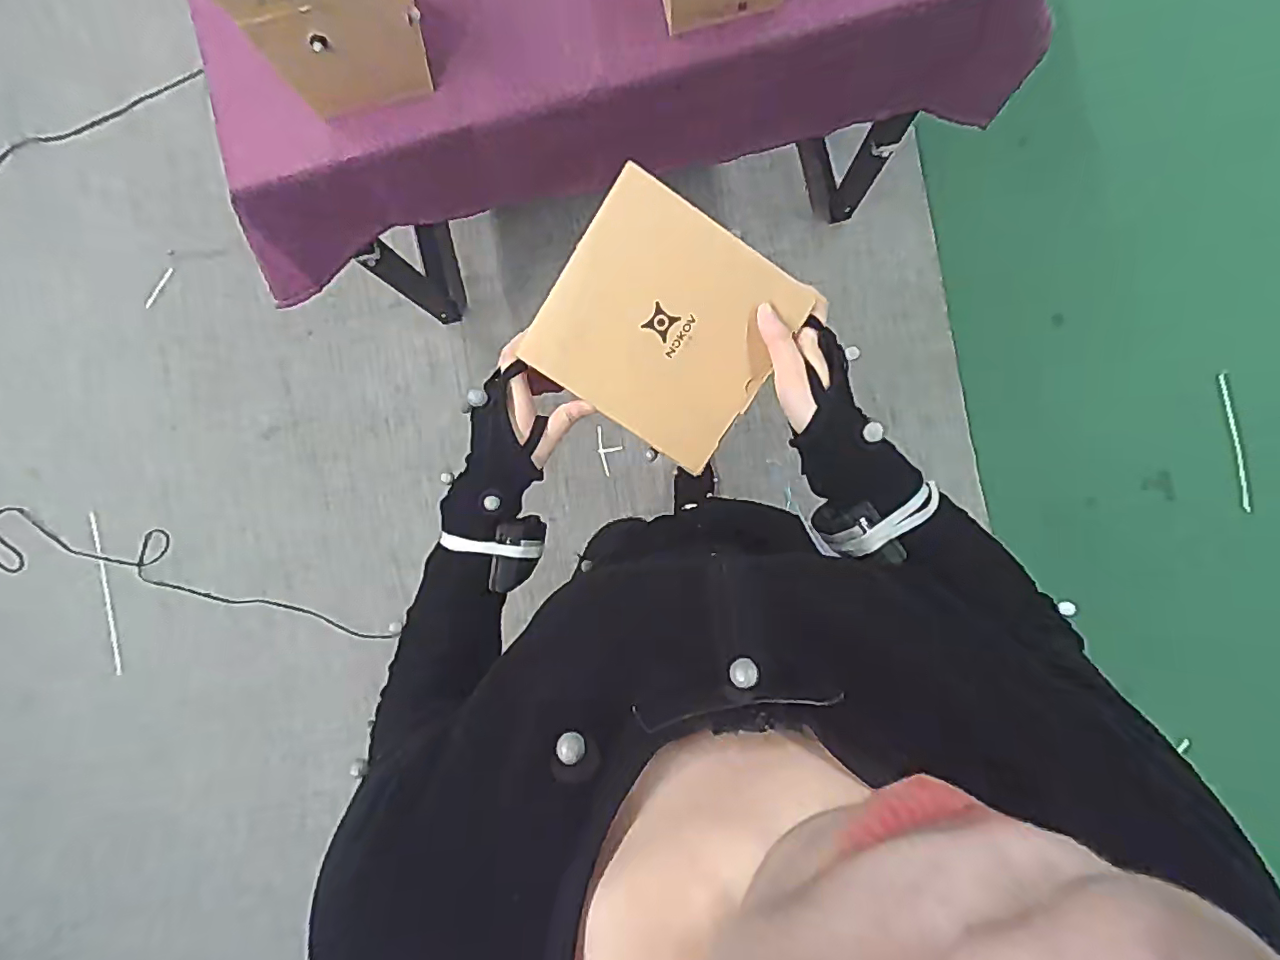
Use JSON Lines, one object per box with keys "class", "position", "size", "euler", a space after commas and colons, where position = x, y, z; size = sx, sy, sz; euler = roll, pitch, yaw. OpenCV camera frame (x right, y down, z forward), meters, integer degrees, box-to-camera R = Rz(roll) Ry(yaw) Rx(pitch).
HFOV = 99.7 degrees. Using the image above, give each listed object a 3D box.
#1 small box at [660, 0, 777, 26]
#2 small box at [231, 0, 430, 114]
{"class": "small box", "position": [0.098, -0.742, 0.702], "size": [0.168, 0.176, 0.179], "euler": [-11, 88, 3]}
{"class": "small box", "position": [-0.414, -0.638, 0.730], "size": [0.179, 0.176, 0.168], "euler": [-12, 88, 2]}
